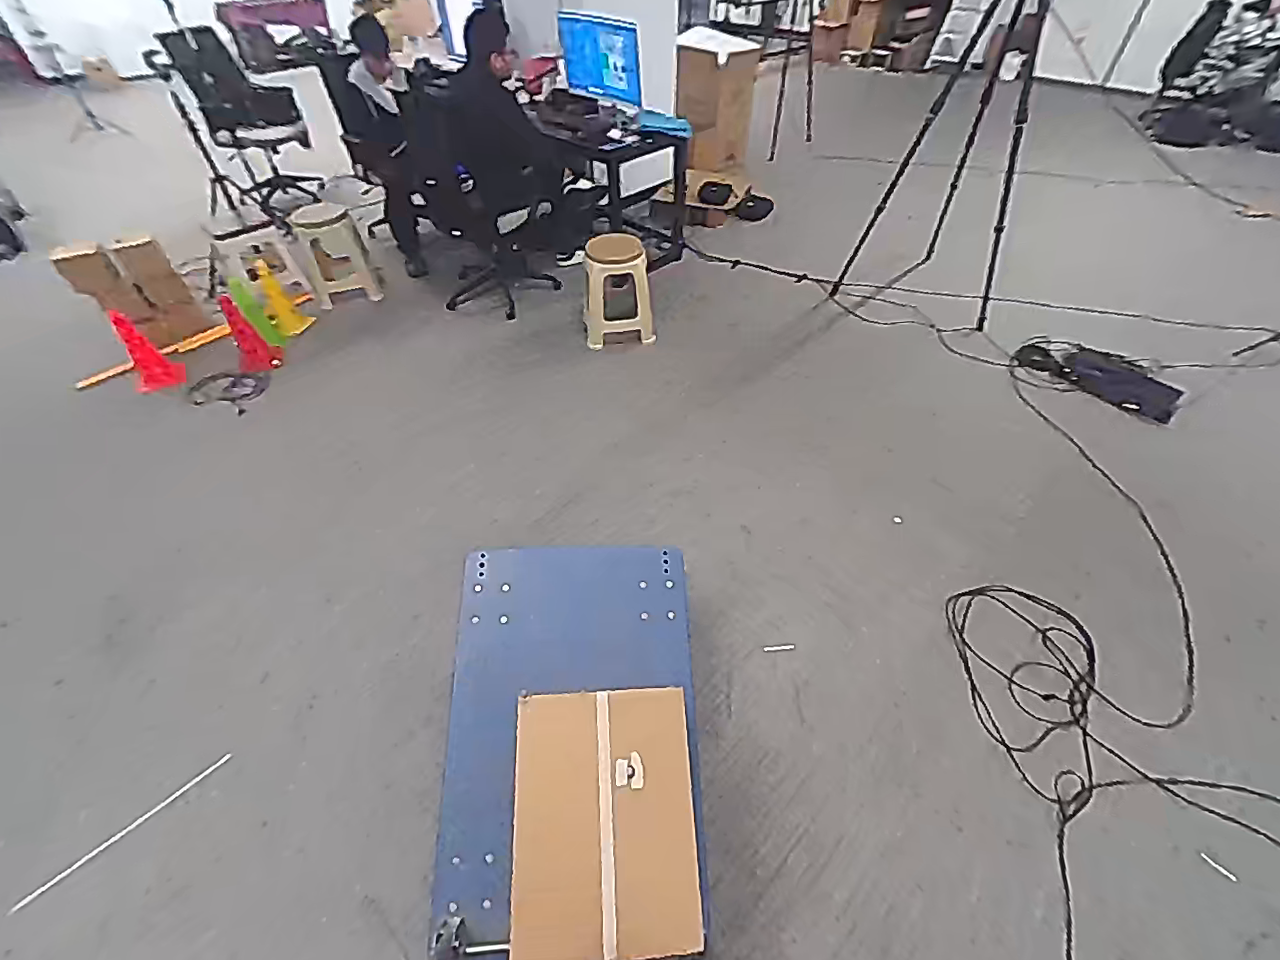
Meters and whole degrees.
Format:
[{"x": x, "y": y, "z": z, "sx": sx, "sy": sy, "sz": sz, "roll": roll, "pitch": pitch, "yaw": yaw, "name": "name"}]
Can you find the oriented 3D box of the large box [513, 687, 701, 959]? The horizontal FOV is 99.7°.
[{"x": -0.076, "y": 0.654, "z": 1.097, "sx": 0.320, "sy": 0.320, "sz": 0.408, "roll": -1, "pitch": 65, "yaw": -7, "name": "large box"}]
